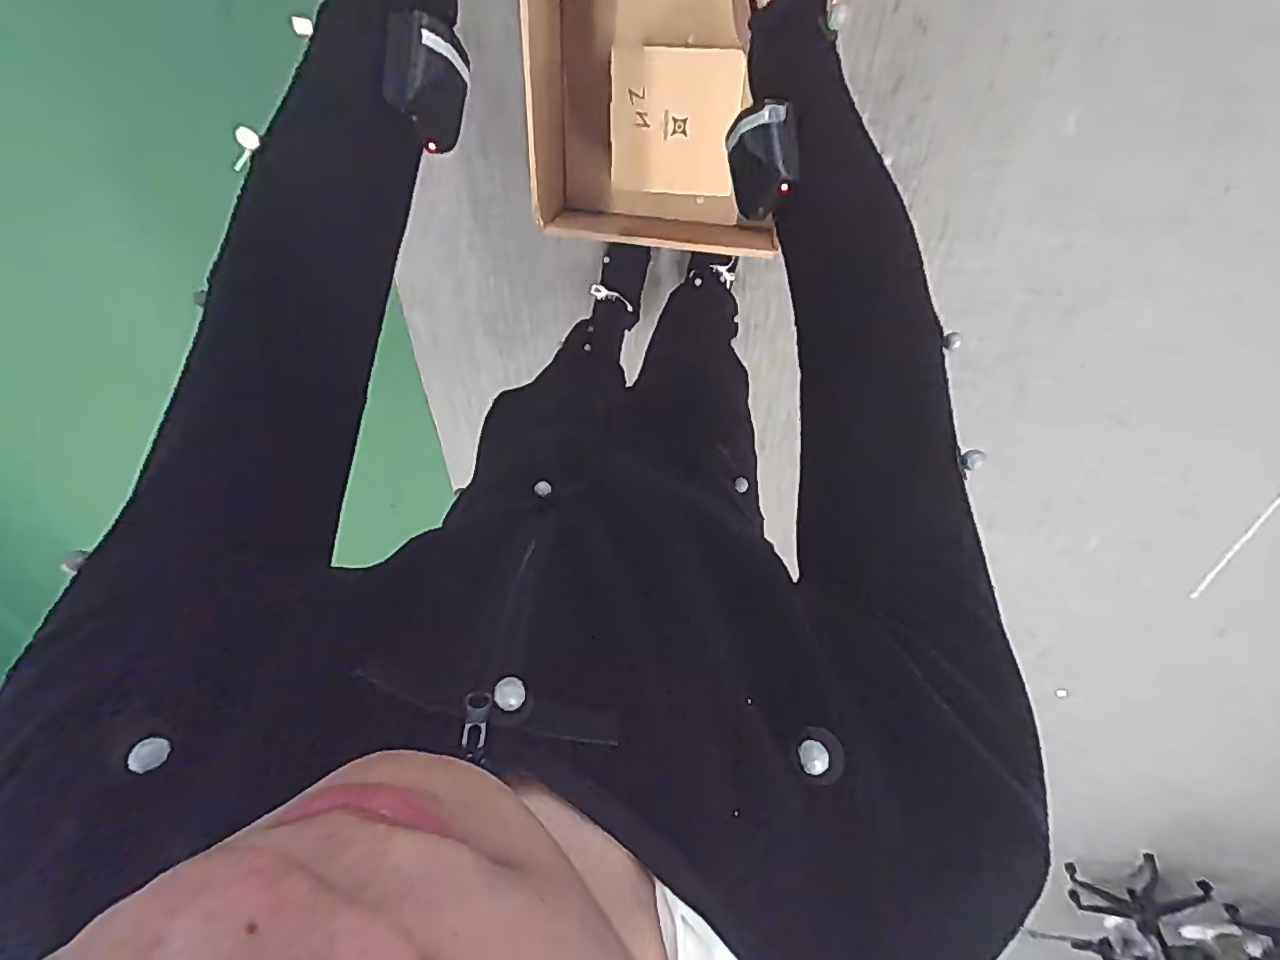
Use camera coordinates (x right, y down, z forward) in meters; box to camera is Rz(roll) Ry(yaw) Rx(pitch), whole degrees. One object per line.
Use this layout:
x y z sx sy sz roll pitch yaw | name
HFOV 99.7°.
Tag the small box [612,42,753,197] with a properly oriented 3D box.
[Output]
0.061 -0.523 0.785 0.179 0.176 0.168 8 127 5 | small box
